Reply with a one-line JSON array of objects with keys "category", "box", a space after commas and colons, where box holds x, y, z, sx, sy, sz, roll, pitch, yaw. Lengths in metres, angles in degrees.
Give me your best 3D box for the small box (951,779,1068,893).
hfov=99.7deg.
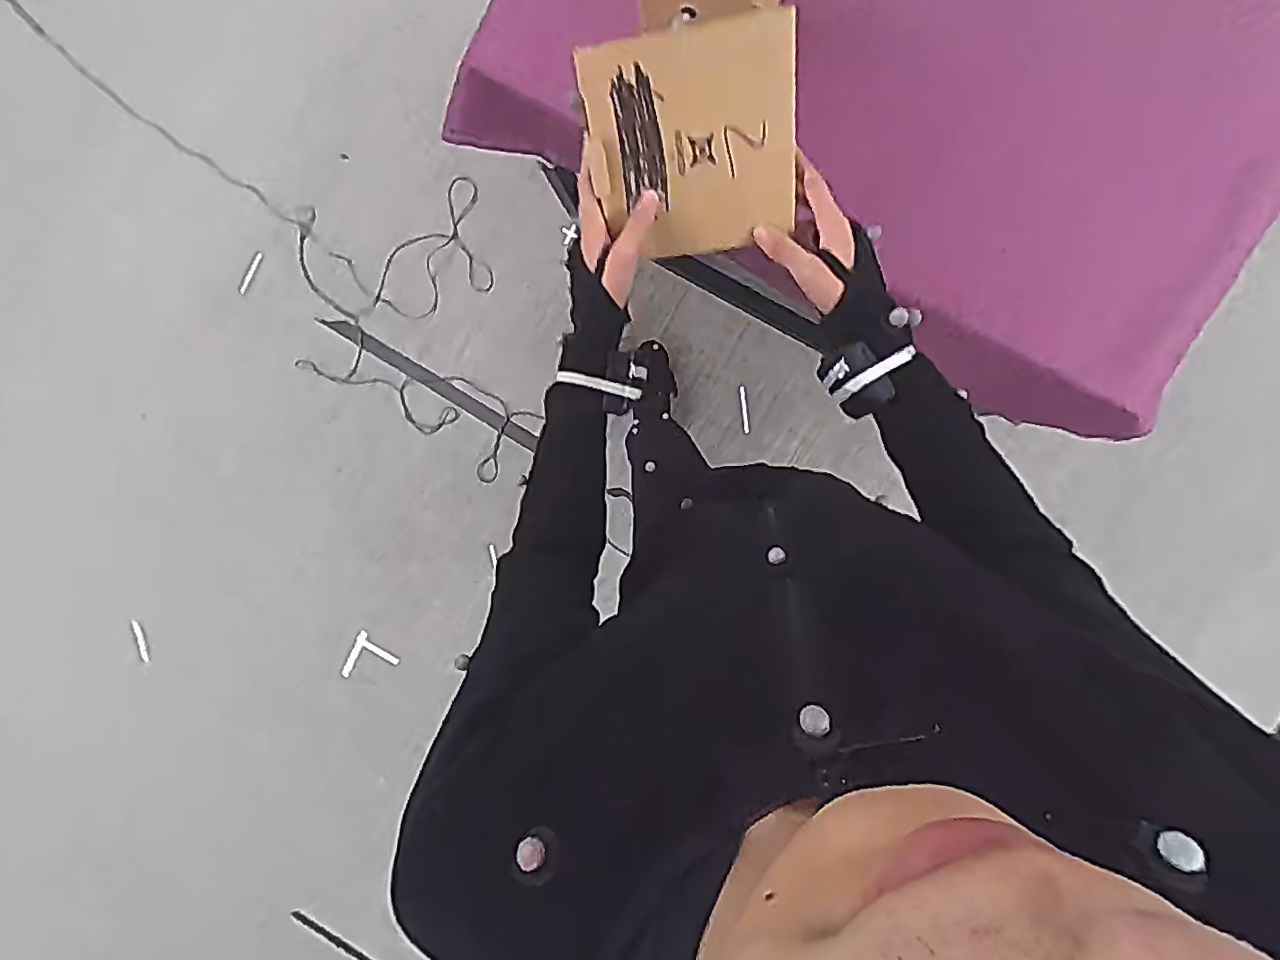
[{"category": "small box", "box": [1.018, 0.979, 1.510, 0.179, 0.176, 0.168, 34, 97, 3]}]
